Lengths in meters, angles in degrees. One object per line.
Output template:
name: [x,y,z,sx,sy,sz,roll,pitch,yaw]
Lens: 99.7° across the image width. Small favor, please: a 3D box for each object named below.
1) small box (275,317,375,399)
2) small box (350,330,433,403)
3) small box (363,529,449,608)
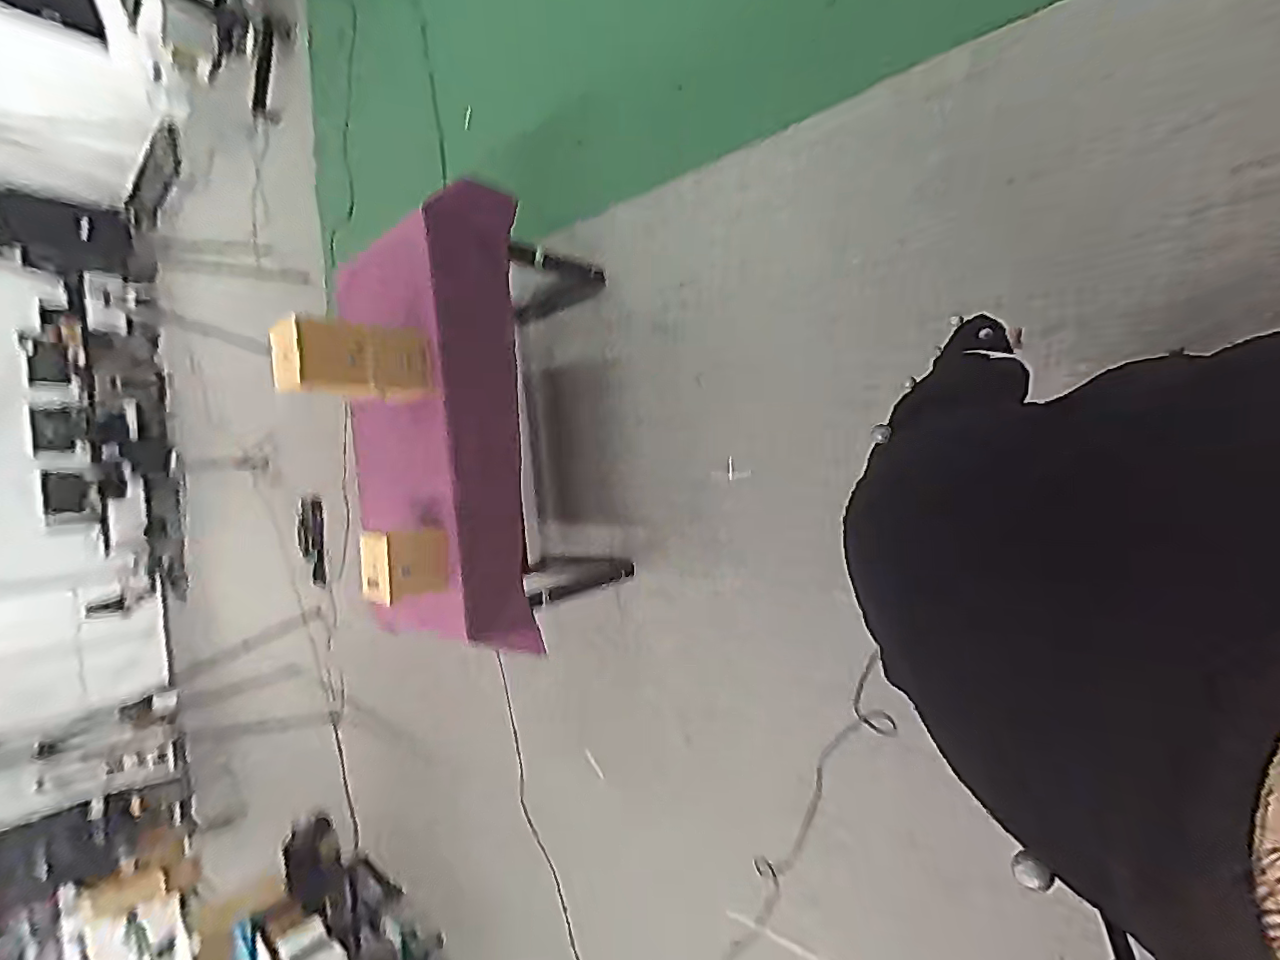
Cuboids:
small box: [-0.797,-0.300,1.372,0.179,0.176,0.168,-2,92,39]
small box: [-0.687,-0.306,1.492,0.179,0.176,0.168,-3,92,40]
small box: [-0.650,0.239,1.510,0.168,0.176,0.179,1,94,40]
